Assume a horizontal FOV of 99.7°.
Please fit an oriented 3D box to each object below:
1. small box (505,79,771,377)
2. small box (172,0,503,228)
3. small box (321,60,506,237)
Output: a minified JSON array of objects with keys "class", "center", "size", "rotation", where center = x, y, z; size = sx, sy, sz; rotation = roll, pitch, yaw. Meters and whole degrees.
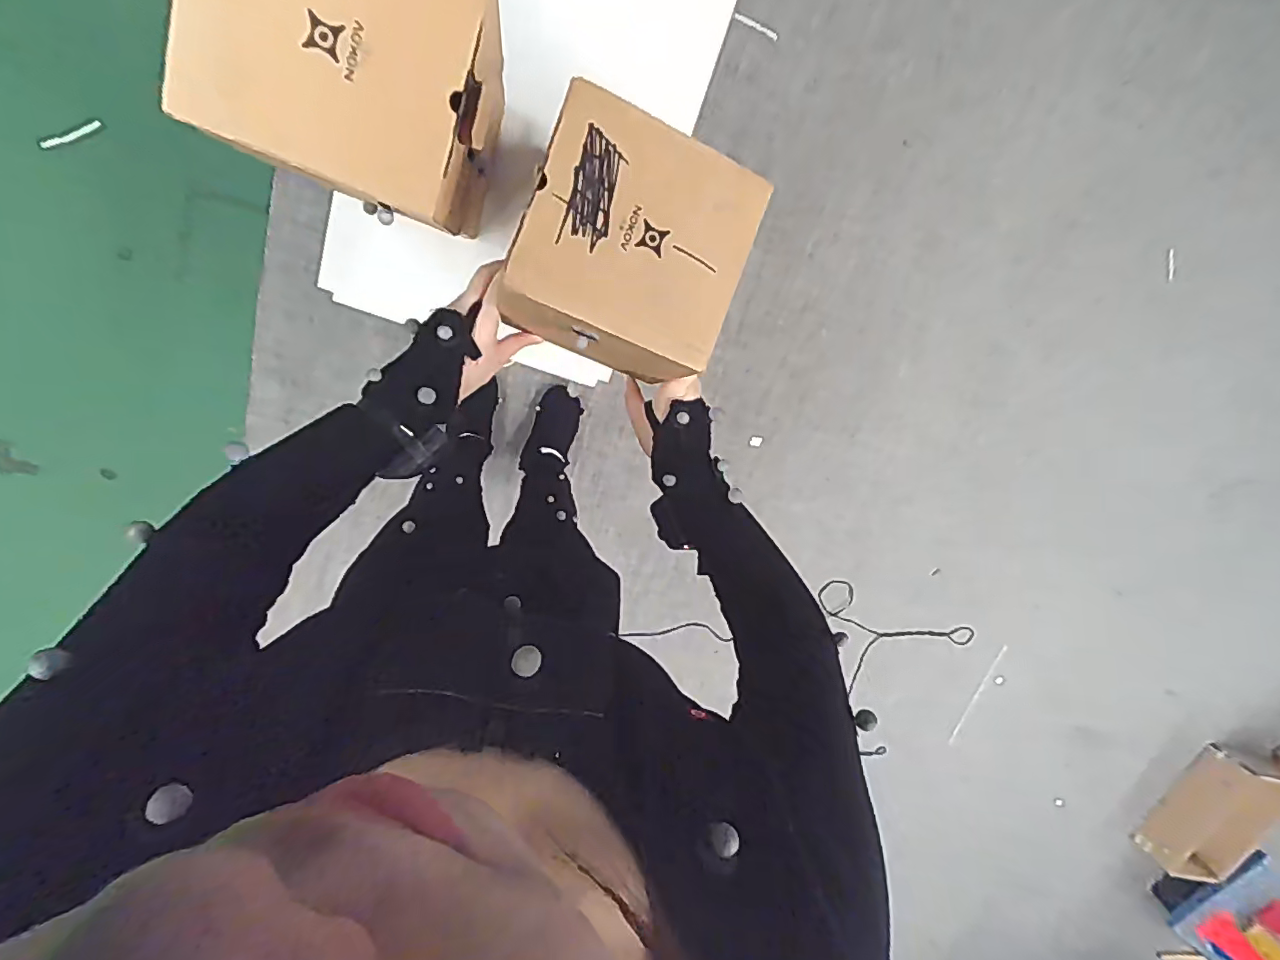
[{"class":"small box","center":[-0.017,-0.204,0.501],"size":[0.179,0.176,0.168],"rotation":[21,91,-17]},{"class":"small box","center":[-0.219,-0.321,0.436],"size":[0.179,0.176,0.168],"rotation":[16,105,-19]},{"class":"small box","center":[-0.253,-0.377,0.585],"size":[0.179,0.176,0.168],"rotation":[15,106,-17]}]
